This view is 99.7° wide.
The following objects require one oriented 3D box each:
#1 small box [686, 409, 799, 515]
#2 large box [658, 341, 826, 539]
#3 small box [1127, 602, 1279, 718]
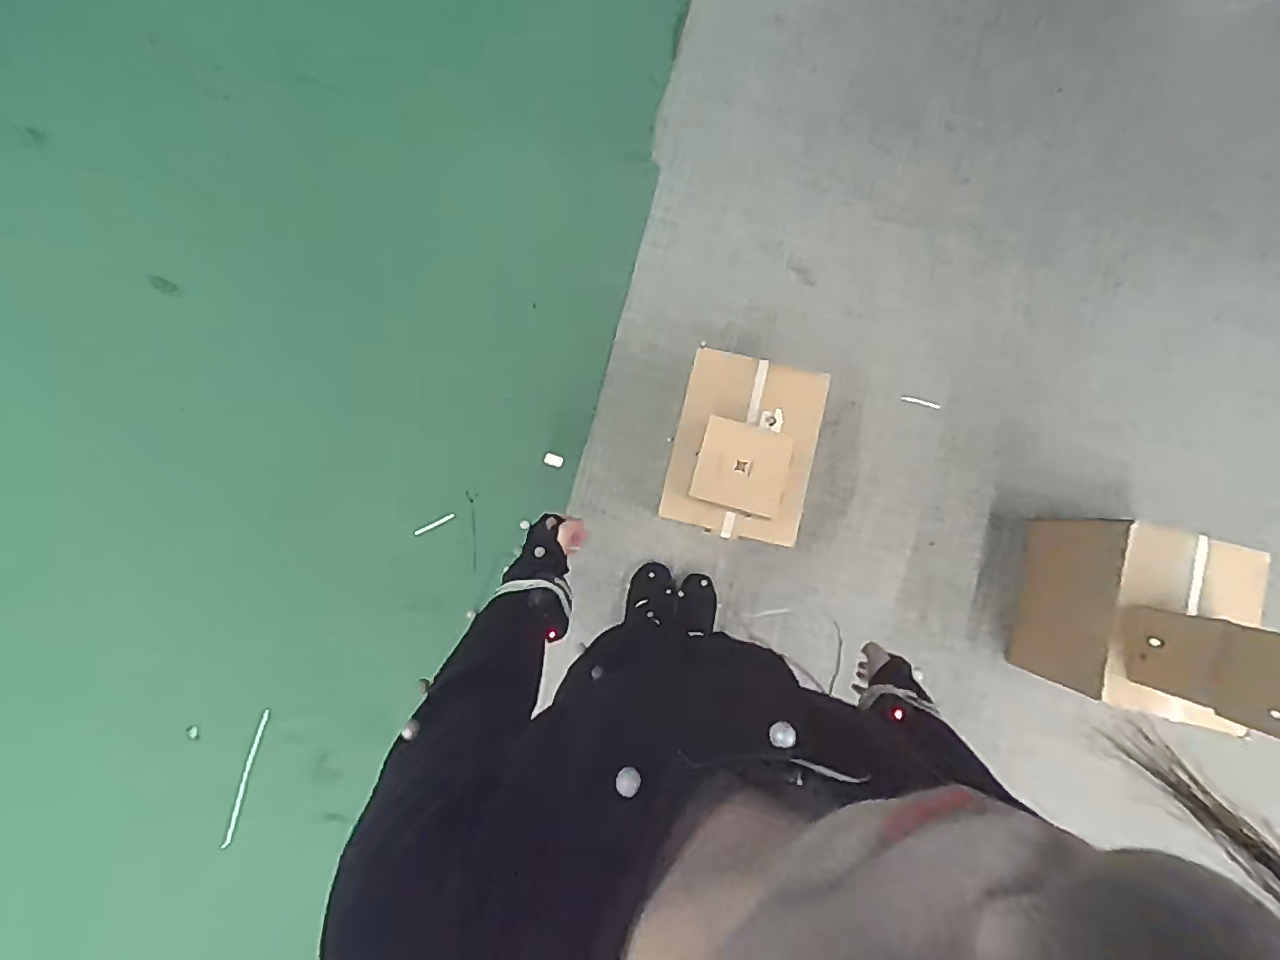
[{"bbox_3d":[0.201,-0.031,1.109,0.179,0.176,0.168,16,86,3],"label":"small box"},{"bbox_3d":[0.234,-0.080,1.358,0.320,0.320,0.408,13,86,1],"label":"large box"},{"bbox_3d":[1.149,0.352,1.085,0.179,0.176,0.168,12,87,2],"label":"small box"}]
